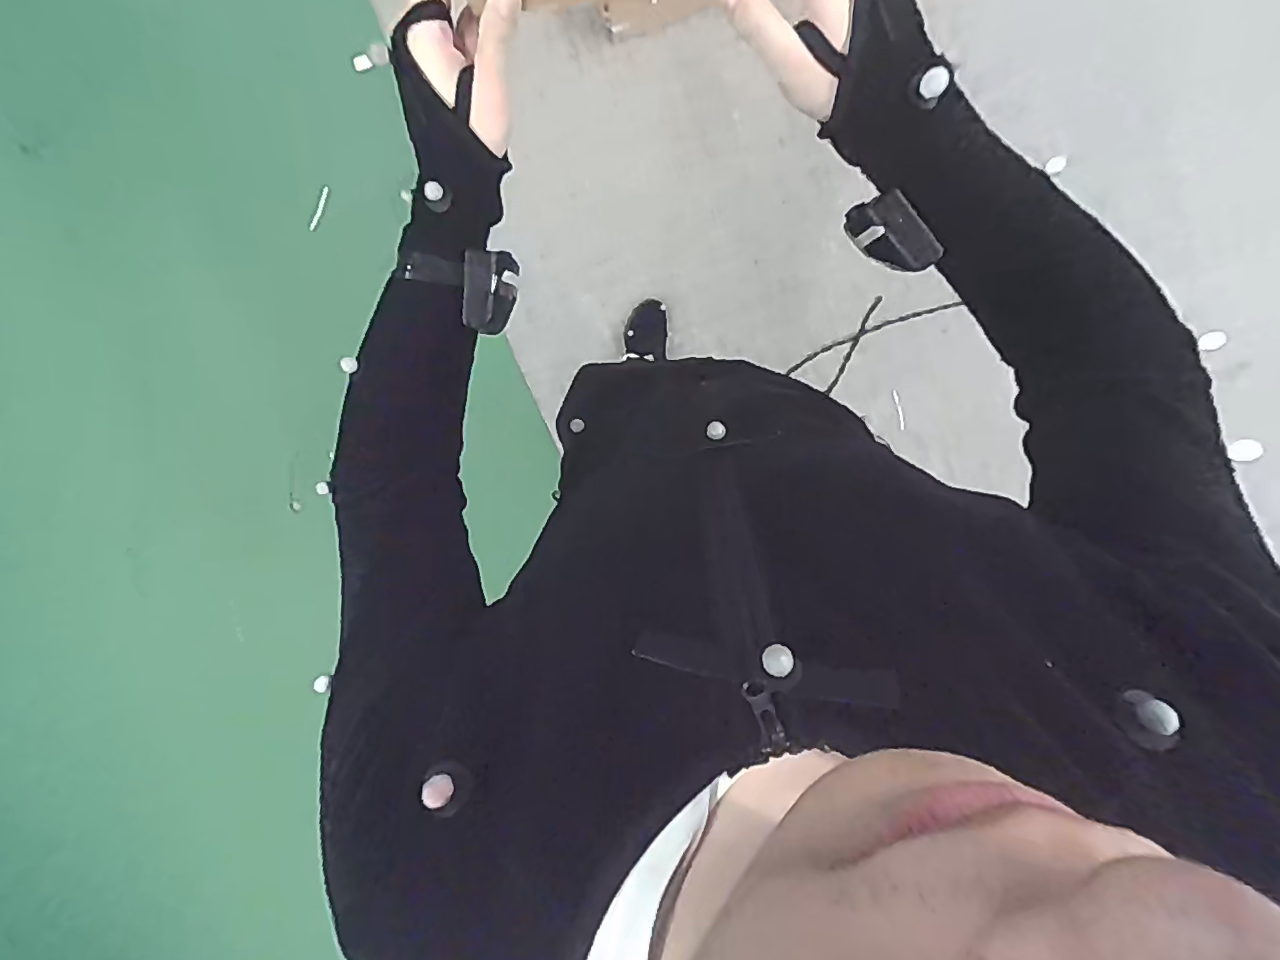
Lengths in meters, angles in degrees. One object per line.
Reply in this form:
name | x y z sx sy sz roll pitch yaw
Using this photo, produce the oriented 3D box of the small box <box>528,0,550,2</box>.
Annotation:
small box | -0.033 -0.395 0.276 0.179 0.176 0.168 2 89 7
